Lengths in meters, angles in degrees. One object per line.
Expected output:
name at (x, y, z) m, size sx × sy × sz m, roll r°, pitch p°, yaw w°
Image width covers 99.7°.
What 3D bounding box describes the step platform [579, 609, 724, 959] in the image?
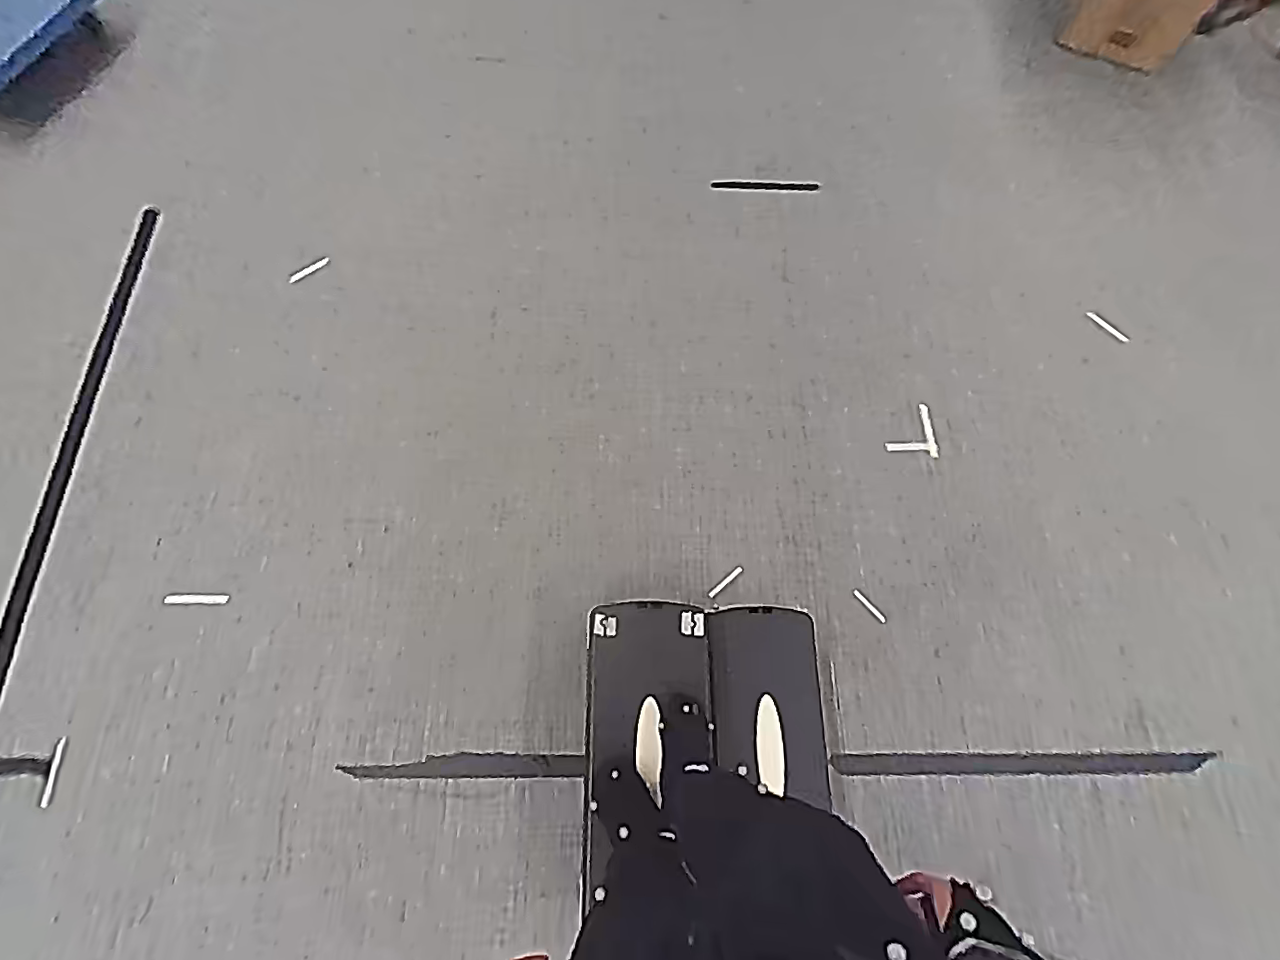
step platform at (0.035, 0.642, 1.226) m, size 0.286 × 0.204 × 0.684 m, roll 4°, pitch 69°, yaw -2°
